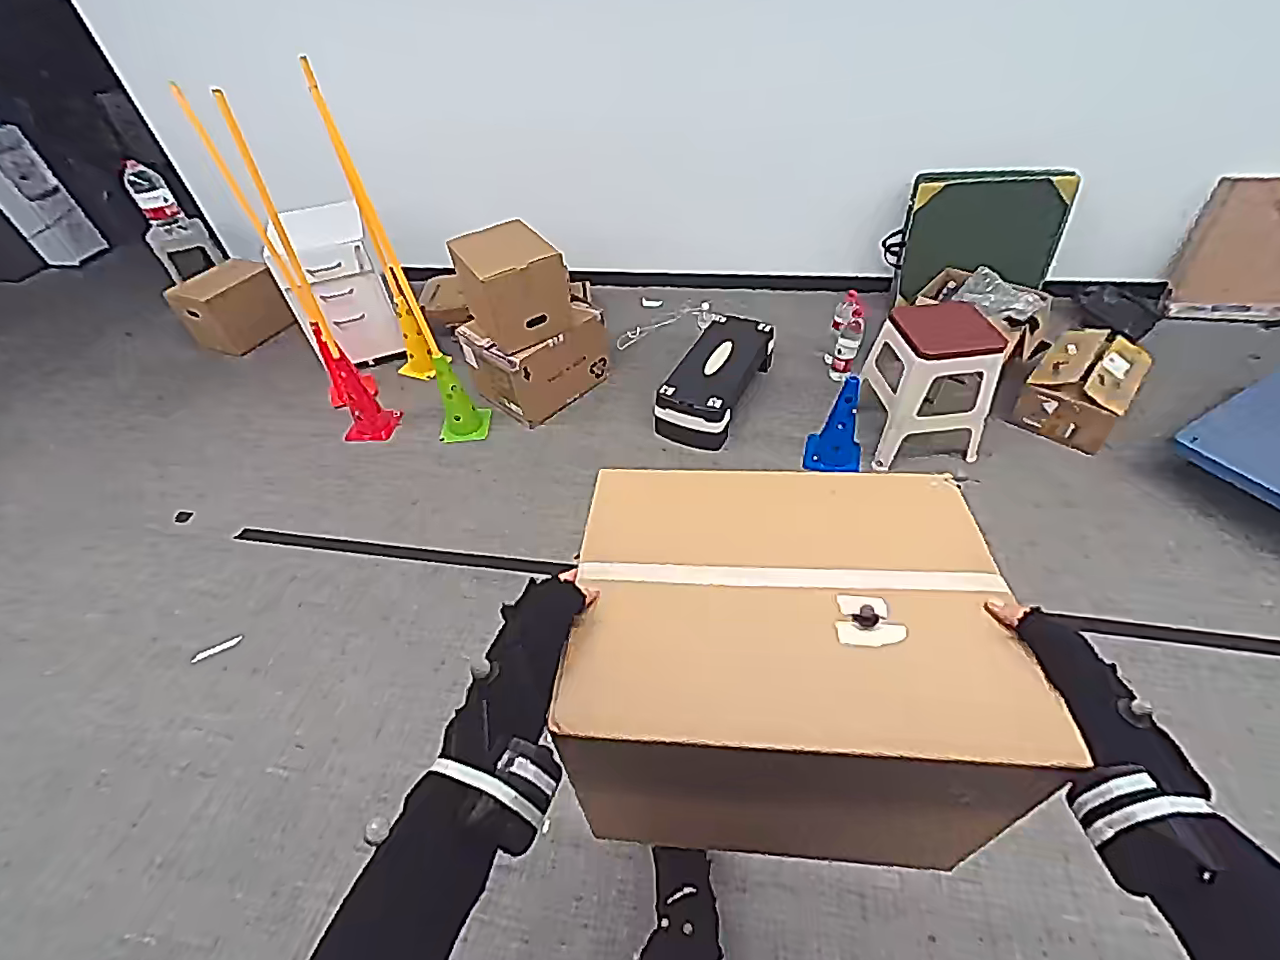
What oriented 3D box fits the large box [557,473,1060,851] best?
[{"bbox_3d":[0.144,0.206,0.637,0.408,0.320,0.320,1,44,6],"label":"large box"}]
